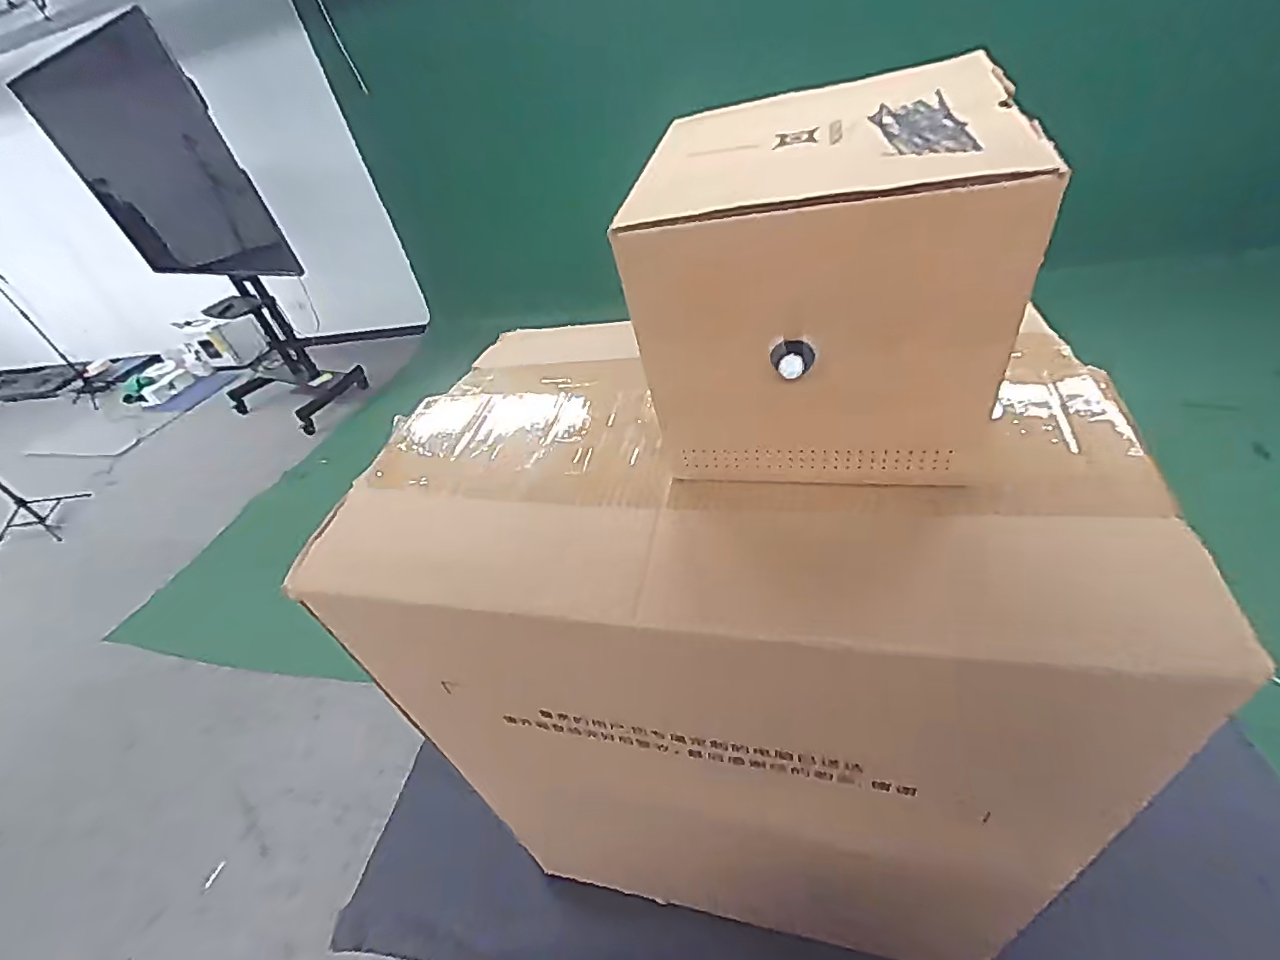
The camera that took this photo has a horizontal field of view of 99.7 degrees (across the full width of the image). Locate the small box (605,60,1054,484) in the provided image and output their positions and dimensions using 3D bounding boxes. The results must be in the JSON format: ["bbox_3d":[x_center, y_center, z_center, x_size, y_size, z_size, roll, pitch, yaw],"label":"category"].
[{"bbox_3d":[0.102,-0.111,0.324,0.179,0.176,0.168,1,48,20],"label":"small box"}]
